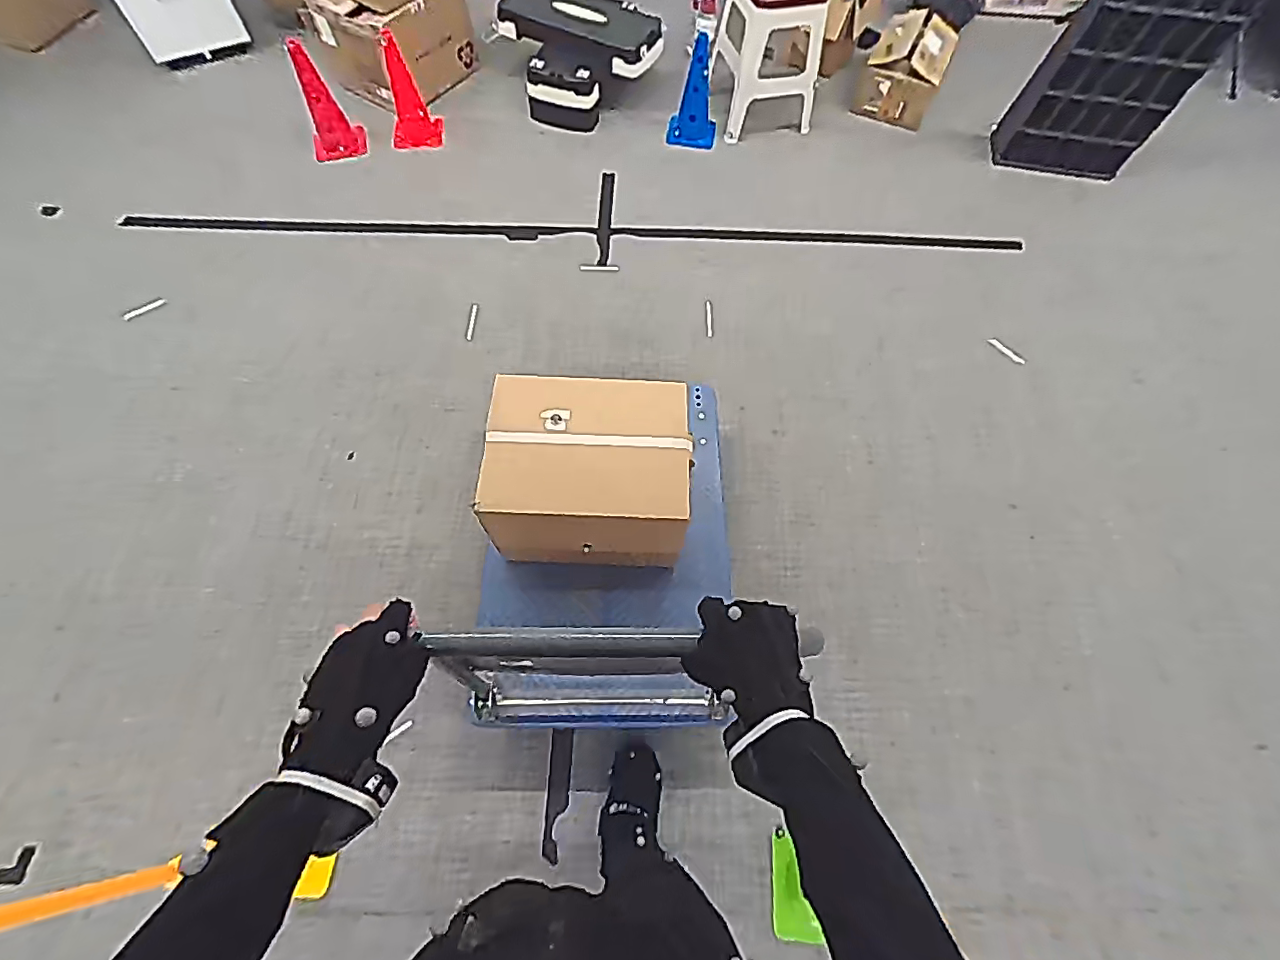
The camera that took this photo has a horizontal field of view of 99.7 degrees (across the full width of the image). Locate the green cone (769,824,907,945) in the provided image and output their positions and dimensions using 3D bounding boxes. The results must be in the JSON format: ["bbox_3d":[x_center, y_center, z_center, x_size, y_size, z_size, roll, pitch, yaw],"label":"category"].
[{"bbox_3d":[0.388,0.791,1.011,0.202,0.368,0.200,6,64,0],"label":"green cone"}]

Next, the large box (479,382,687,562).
[{"bbox_3d":[-0.107,-0.004,1.224,0.408,0.320,0.320,2,64,0],"label":"large box"}]
